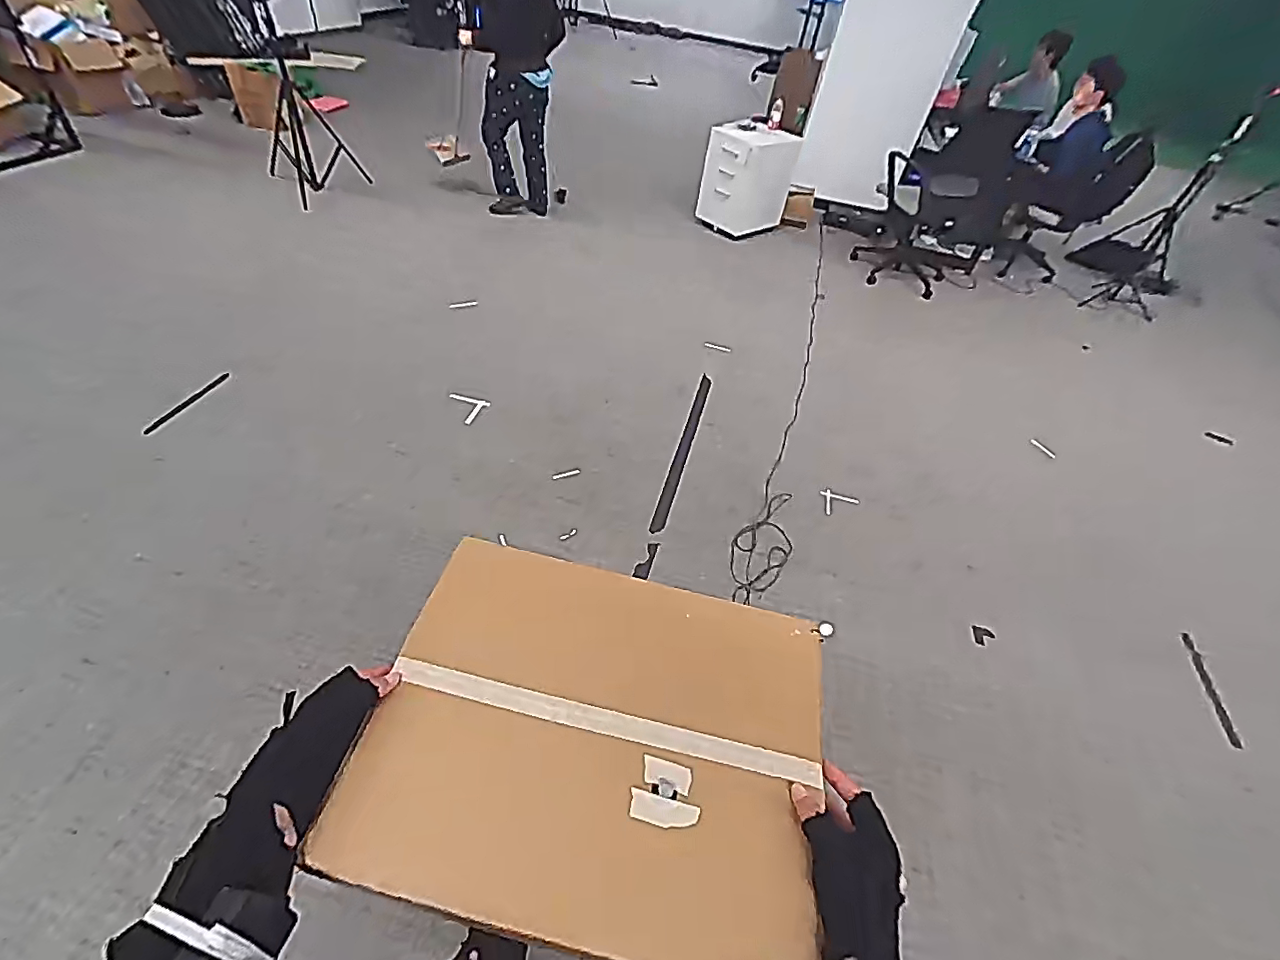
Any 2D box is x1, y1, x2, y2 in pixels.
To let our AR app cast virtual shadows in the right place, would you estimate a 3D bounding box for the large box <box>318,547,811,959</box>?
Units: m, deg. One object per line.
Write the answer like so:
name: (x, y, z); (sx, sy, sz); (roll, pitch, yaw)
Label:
large box: (-0.053, 0.325, 0.625); (0.408, 0.320, 0.320); (13, 49, 3)
